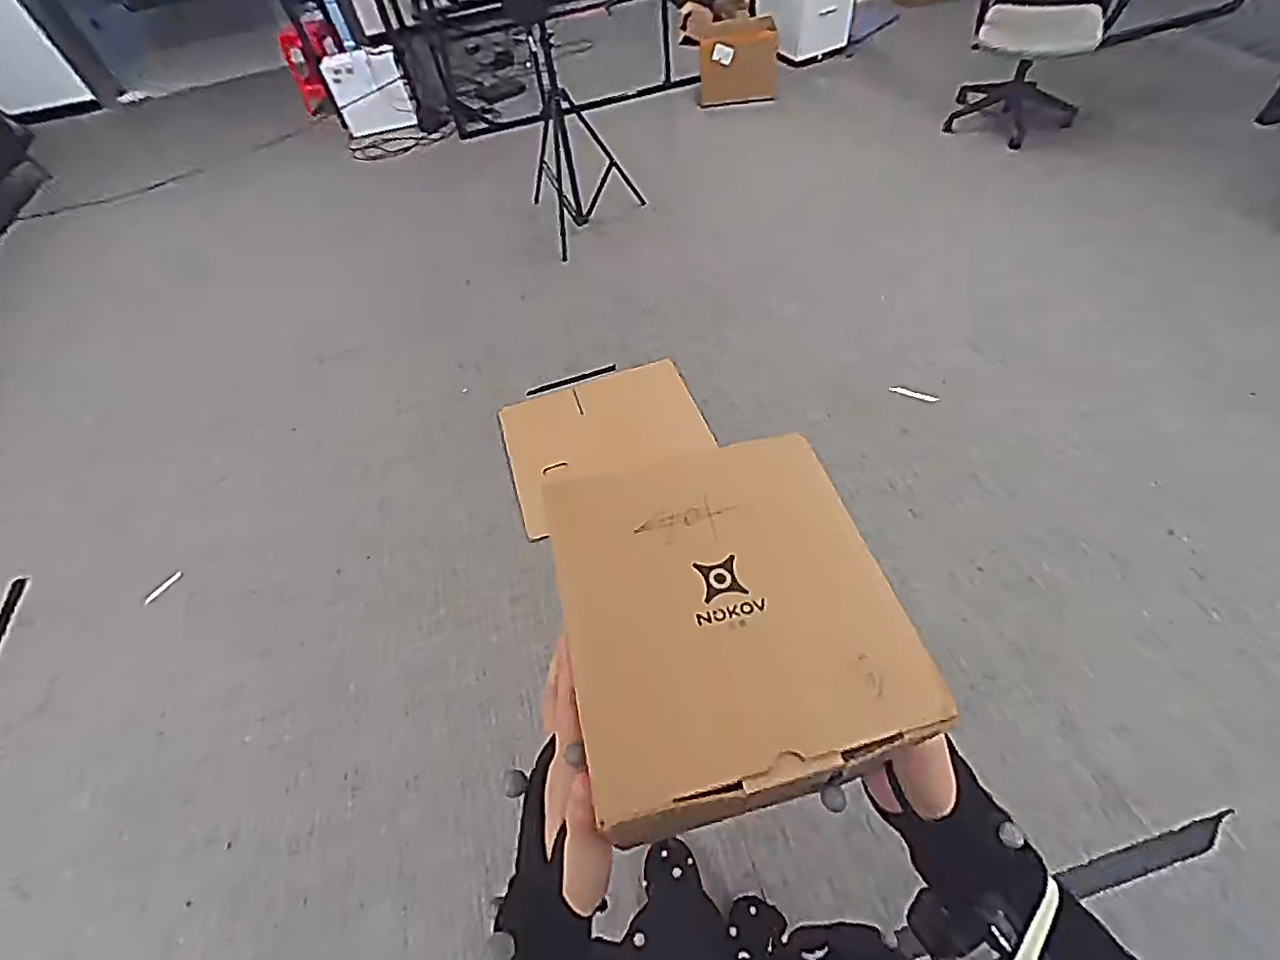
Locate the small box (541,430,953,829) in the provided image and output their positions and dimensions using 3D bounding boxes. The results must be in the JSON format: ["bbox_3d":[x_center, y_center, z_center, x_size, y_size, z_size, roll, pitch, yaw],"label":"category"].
[{"bbox_3d":[0.042,0.099,0.339,0.168,0.176,0.179,-11,53,-9],"label":"small box"}]
